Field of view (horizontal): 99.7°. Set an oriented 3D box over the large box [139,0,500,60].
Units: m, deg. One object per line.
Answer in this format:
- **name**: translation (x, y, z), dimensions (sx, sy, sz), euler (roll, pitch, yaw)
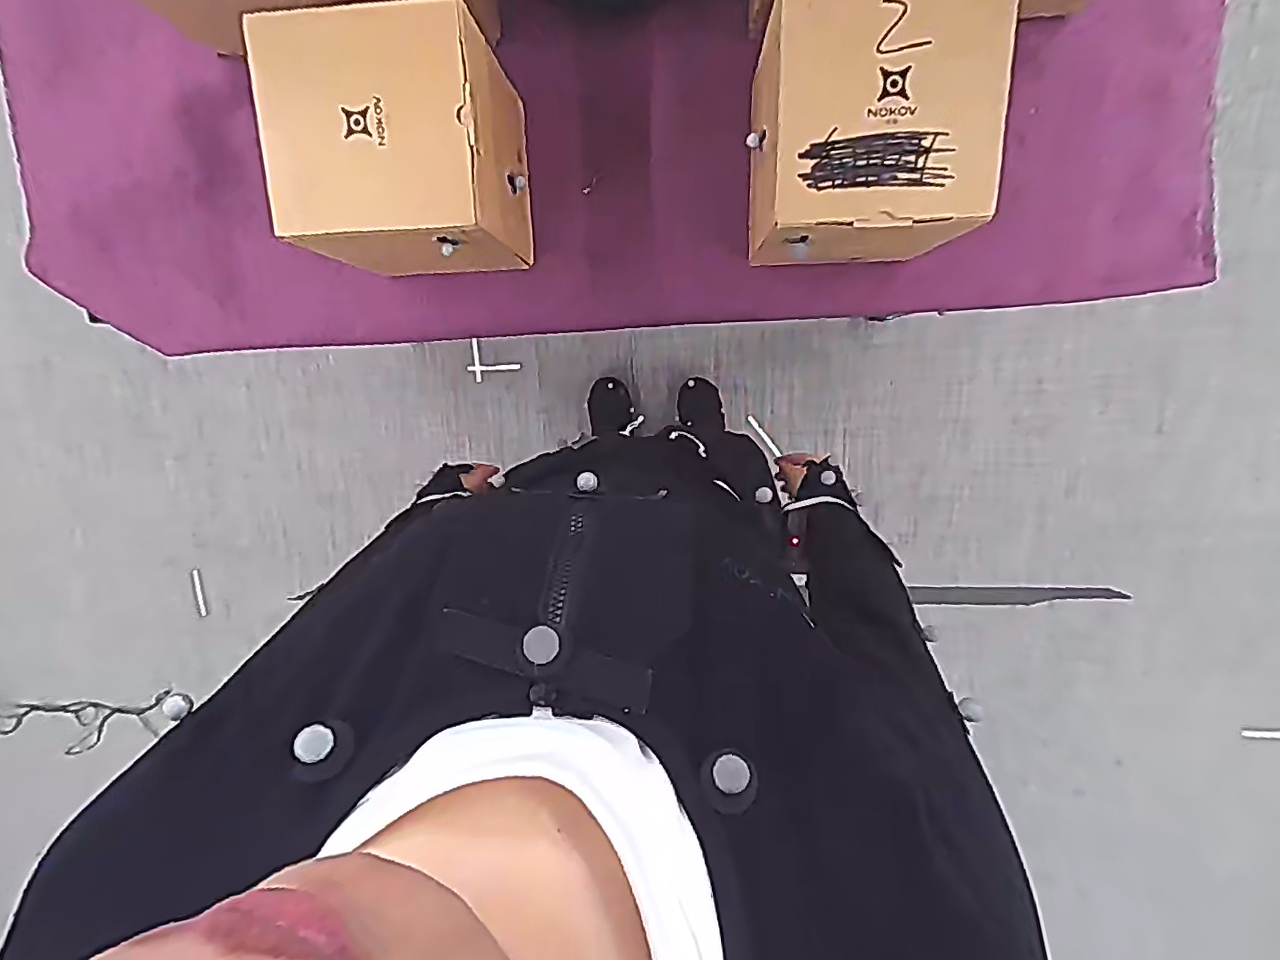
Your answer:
- **large box**: translation (-0.307, -0.610, 0.386), dimensions (0.320, 0.320, 0.408), euler (0, 104, 4)
